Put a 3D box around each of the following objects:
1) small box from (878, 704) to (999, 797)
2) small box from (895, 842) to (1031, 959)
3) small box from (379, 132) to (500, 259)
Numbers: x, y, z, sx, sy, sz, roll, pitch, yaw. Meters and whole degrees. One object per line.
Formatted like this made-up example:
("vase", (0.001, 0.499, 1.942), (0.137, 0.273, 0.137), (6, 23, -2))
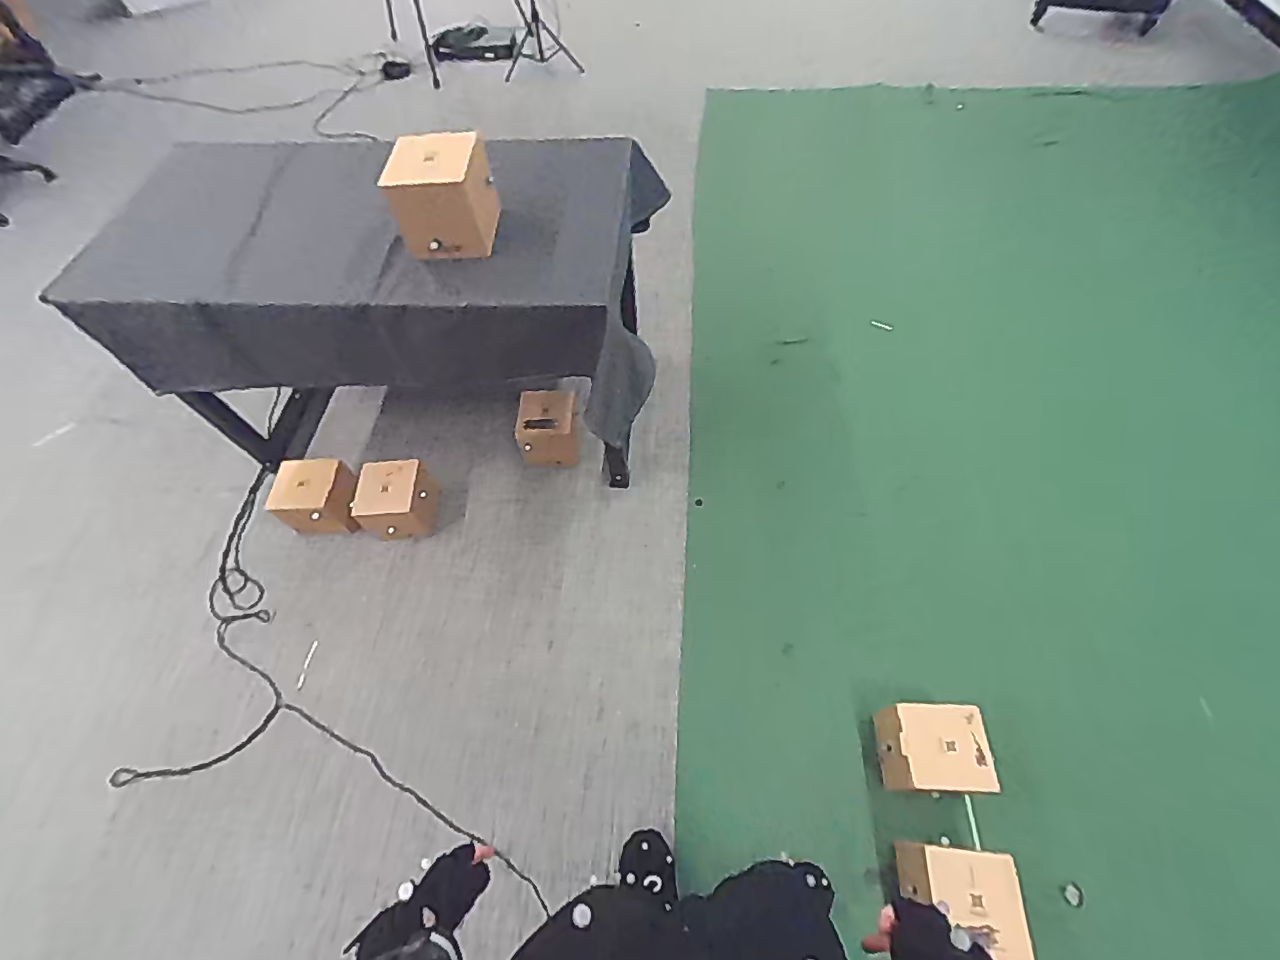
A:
("small box", (0.642, 0.600, 1.195), (0.179, 0.176, 0.168), (1, 59, 5))
("small box", (0.620, 0.829, 1.059), (0.168, 0.176, 0.179), (4, 59, 5))
("small box", (-0.395, -0.576, 1.101), (0.168, 0.176, 0.179), (-1, 59, 4))
